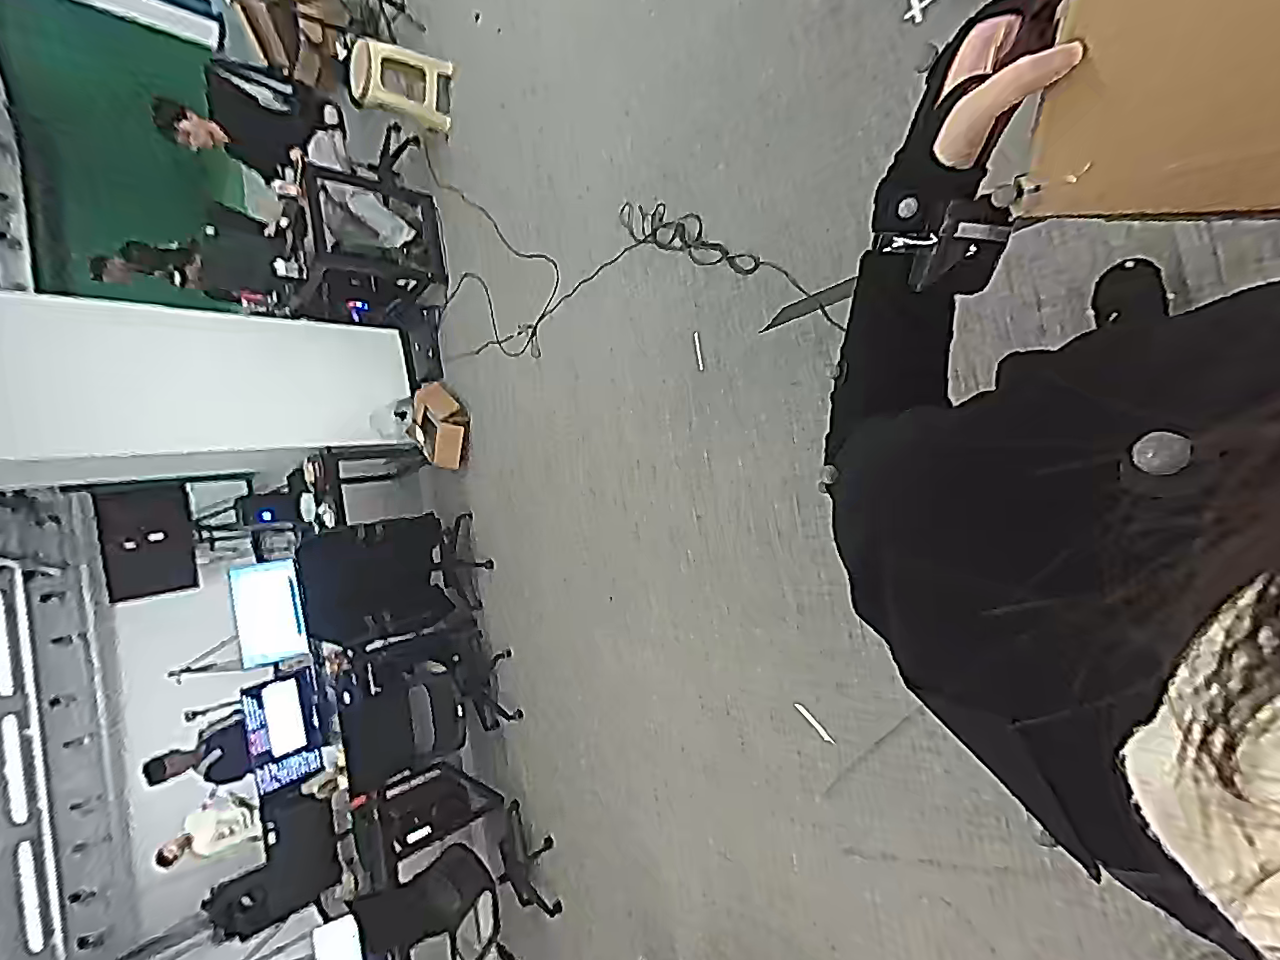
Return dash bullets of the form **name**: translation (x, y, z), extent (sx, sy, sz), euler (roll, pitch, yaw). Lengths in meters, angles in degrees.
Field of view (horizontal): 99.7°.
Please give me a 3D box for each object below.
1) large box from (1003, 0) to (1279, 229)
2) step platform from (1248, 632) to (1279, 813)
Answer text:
- **large box**: translation (0.464, -0.289, 0.233), extent (0.408, 0.320, 0.320), euler (22, 123, 43)
- **step platform**: translation (1.326, 0.417, 0.720), extent (0.684, 0.204, 0.286), euler (-3, 93, 47)
